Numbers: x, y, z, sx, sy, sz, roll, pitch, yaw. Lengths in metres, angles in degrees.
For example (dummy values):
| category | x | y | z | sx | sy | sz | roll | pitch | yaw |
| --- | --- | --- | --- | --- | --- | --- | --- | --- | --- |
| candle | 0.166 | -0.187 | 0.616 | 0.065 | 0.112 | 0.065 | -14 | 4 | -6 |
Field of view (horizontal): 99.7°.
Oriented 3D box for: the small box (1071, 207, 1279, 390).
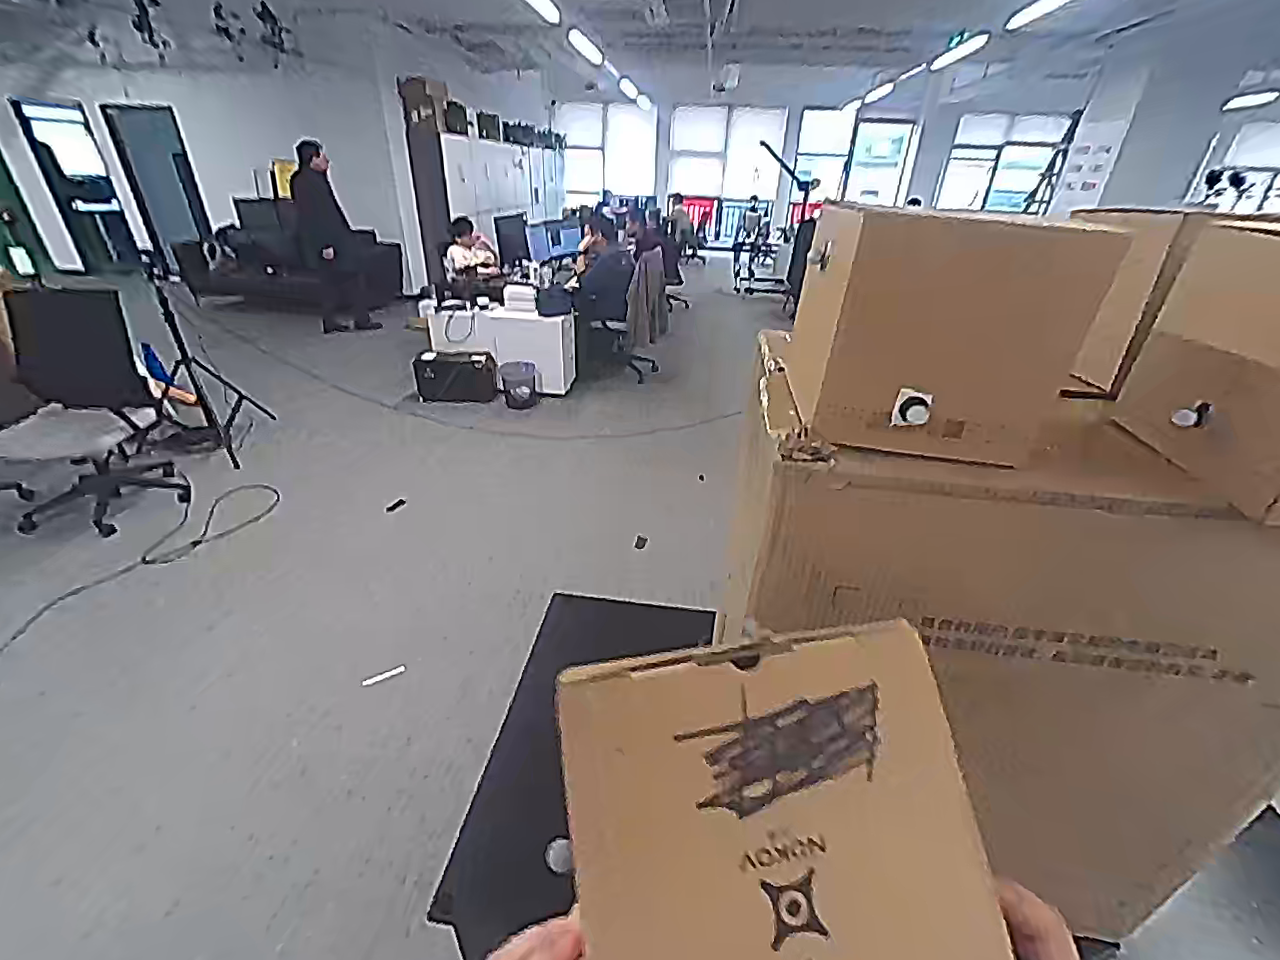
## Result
| category | x | y | z | sx | sy | sz | roll | pitch | yaw |
| --- | --- | --- | --- | --- | --- | --- | --- | --- | --- |
| small box | 0.565 | -0.191 | 0.576 | 0.168 | 0.176 | 0.179 | 4 | 27 | 6 |

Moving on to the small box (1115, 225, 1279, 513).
| category | x | y | z | sx | sy | sz | roll | pitch | yaw |
| --- | --- | --- | --- | --- | --- | --- | --- | --- | --- |
| small box | 0.501 | -0.074 | 0.378 | 0.168 | 0.176 | 0.179 | 5 | 32 | 6 |

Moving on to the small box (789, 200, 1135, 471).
| category | x | y | z | sx | sy | sz | roll | pitch | yaw |
| --- | --- | --- | --- | --- | --- | --- | --- | --- | --- |
| small box | 0.228 | -0.127 | 0.448 | 0.168 | 0.176 | 0.179 | 7 | 31 | 5 |

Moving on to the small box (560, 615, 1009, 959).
| category | x | y | z | sx | sy | sz | roll | pitch | yaw |
| --- | --- | --- | --- | --- | --- | --- | --- | --- | --- |
| small box | 0.048 | 0.179 | 0.290 | 0.168 | 0.176 | 0.179 | -8 | 74 | -9 |
